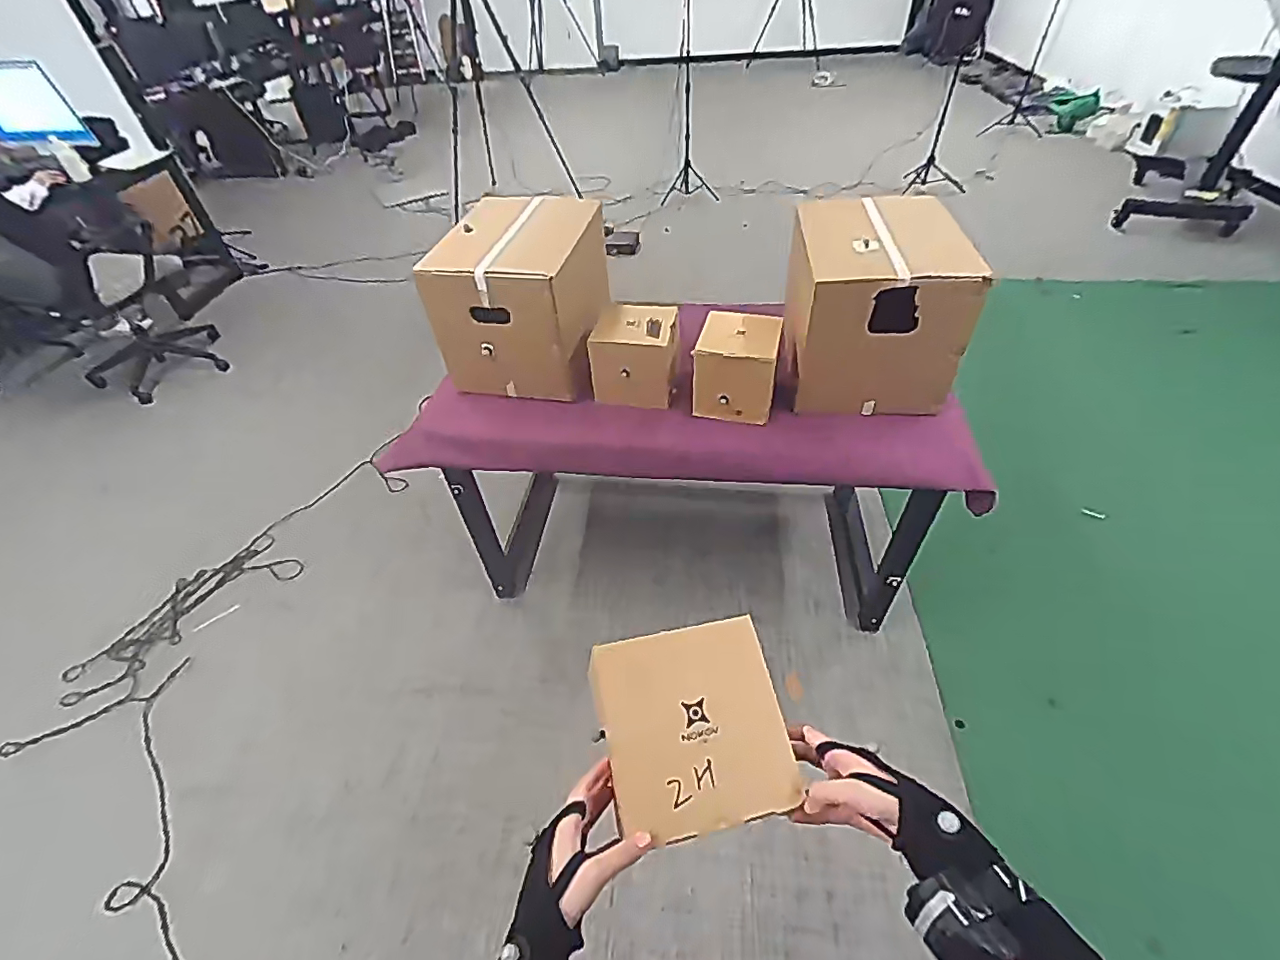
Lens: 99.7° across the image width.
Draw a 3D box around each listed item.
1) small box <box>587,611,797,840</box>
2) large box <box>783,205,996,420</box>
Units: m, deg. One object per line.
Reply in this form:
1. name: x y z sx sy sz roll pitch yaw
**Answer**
1. small box: 0.037 0.256 0.572 0.168 0.176 0.179 -7 63 -10
2. large box: 0.509 -0.379 1.211 0.320 0.320 0.408 1 46 8
